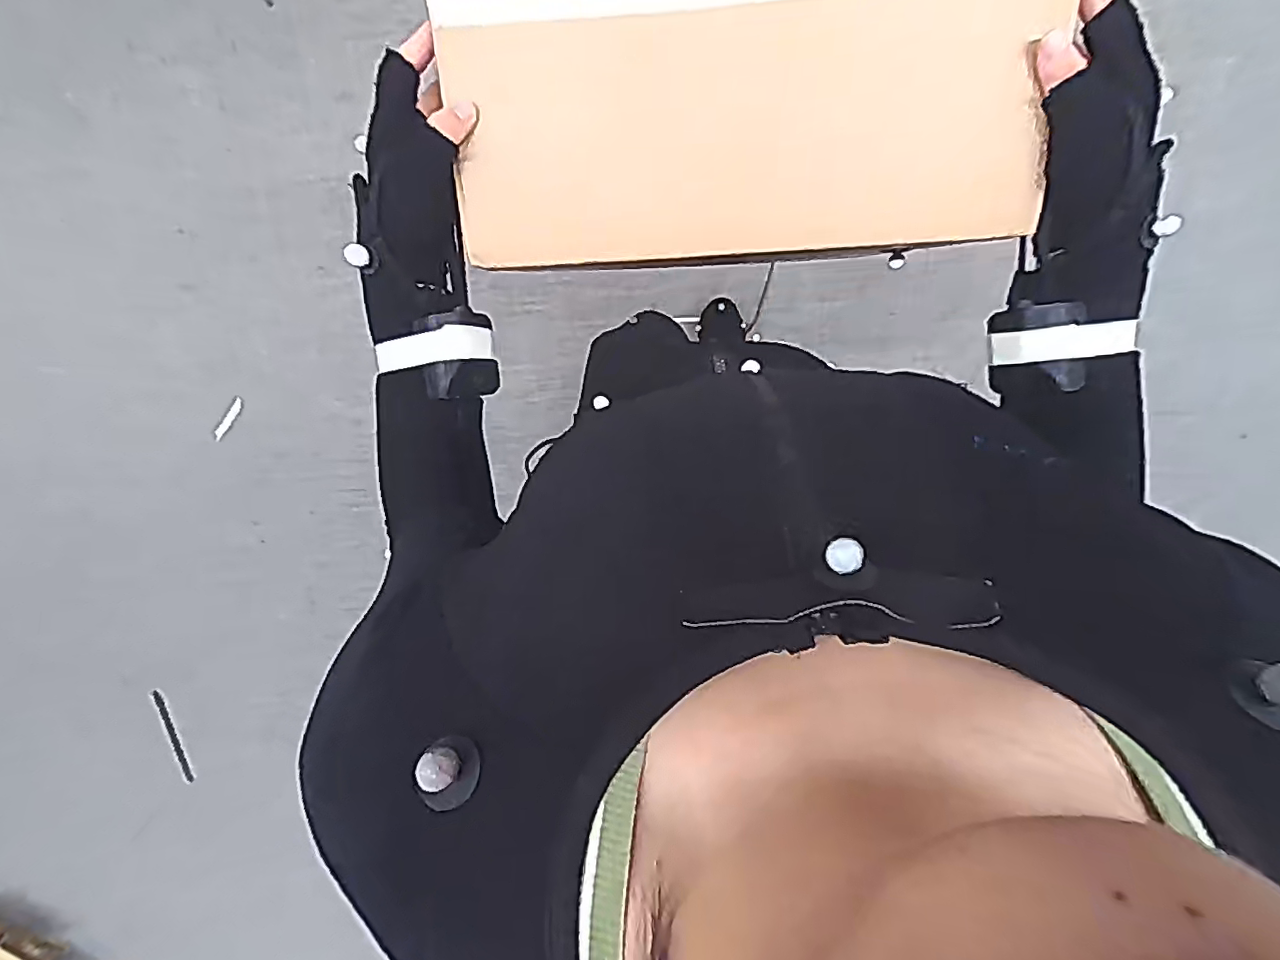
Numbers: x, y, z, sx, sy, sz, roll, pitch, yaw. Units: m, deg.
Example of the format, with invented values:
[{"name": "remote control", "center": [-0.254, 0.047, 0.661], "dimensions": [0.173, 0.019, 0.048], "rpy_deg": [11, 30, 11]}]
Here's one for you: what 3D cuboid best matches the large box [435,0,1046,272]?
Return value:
[{"name": "large box", "center": [0.068, -0.366, 0.488], "dimensions": [0.408, 0.320, 0.320], "rpy_deg": [-3, 110, 2]}]
